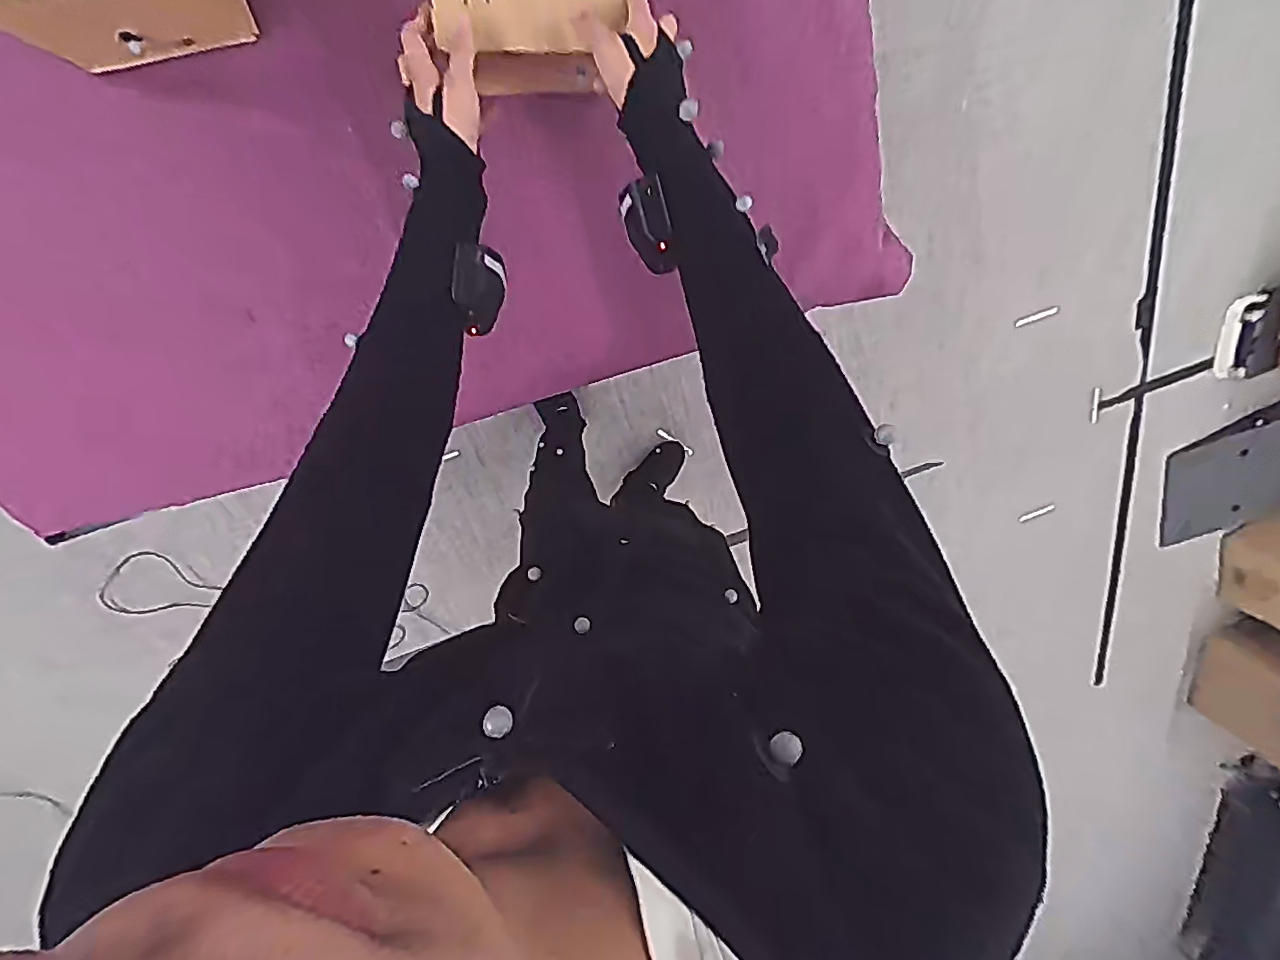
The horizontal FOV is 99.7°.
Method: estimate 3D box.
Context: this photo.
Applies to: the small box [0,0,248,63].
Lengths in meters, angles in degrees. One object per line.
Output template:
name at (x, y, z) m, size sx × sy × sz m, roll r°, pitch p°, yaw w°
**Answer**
small box at (-0.474, -0.483, 0.440) m, size 0.168 × 0.176 × 0.179 m, roll -18°, pitch 116°, yaw -7°
